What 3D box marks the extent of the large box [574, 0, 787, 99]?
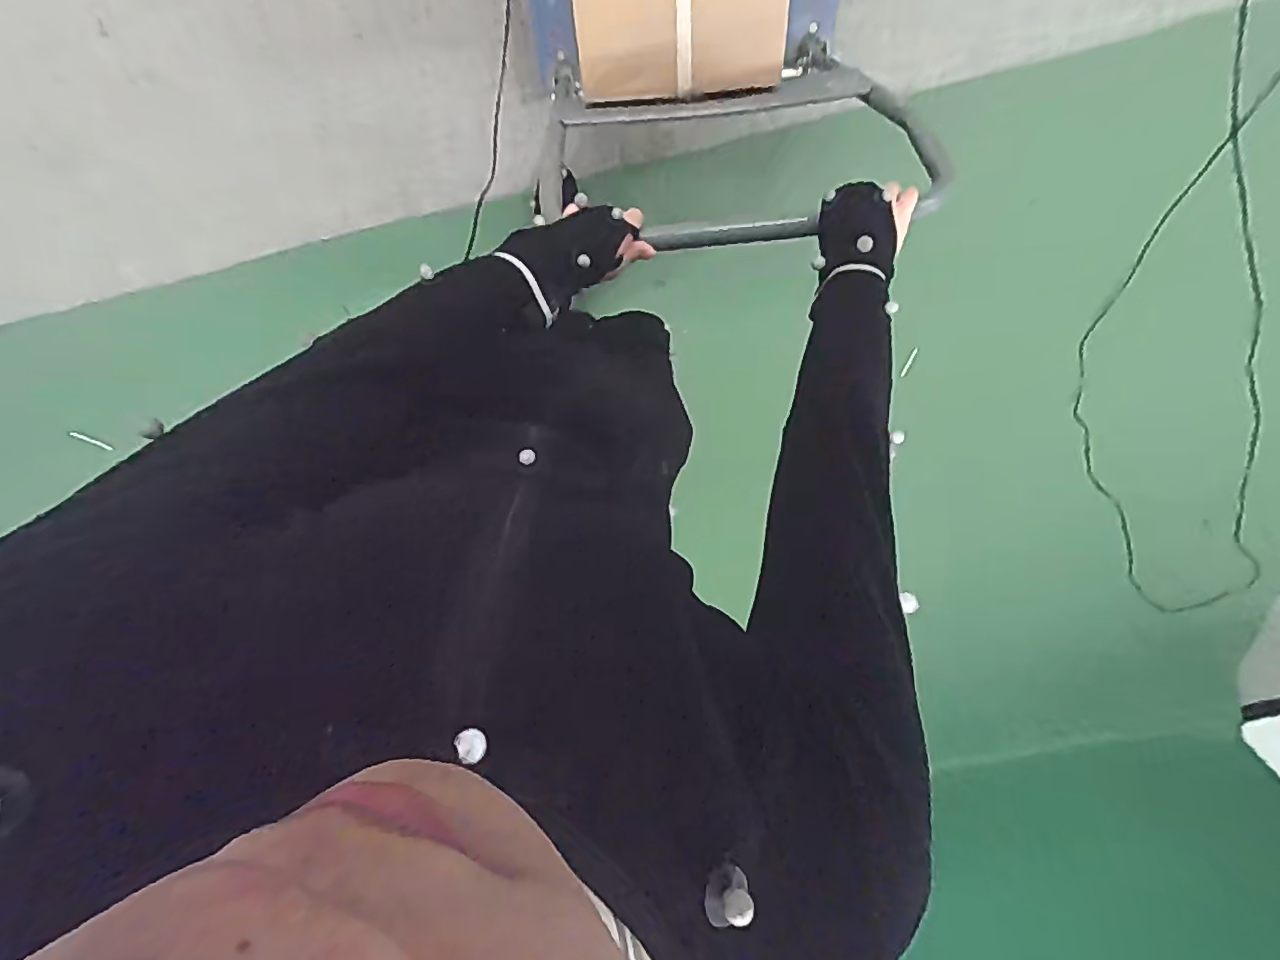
[{"bbox_3d":[0.050,-0.868,0.841,0.320,0.320,0.408,-5,132,1],"label":"large box"}]
